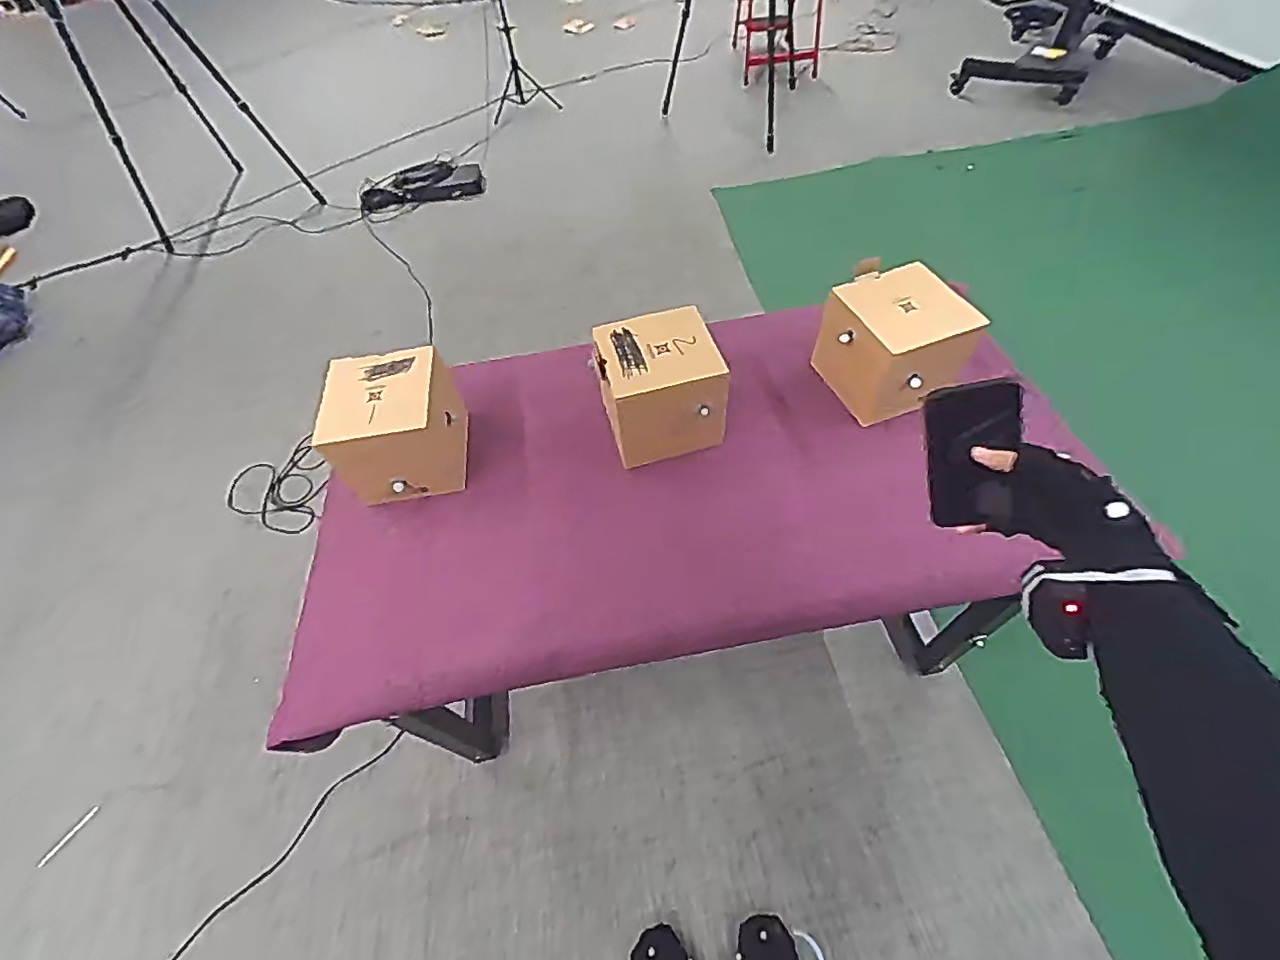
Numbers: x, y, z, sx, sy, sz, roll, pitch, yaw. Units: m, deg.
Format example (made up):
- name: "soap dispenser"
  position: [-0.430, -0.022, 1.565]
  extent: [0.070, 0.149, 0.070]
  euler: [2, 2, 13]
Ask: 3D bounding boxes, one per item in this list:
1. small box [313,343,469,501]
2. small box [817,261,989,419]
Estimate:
- name: "small box"
  position: [-0.385, -0.090, 0.872]
  extent: [0.168, 0.176, 0.179]
  euler: [-9, 57, -1]
- name: "small box"
  position: [0.418, -0.223, 0.896]
  extent: [0.168, 0.176, 0.179]
  euler: [-19, 55, -7]
